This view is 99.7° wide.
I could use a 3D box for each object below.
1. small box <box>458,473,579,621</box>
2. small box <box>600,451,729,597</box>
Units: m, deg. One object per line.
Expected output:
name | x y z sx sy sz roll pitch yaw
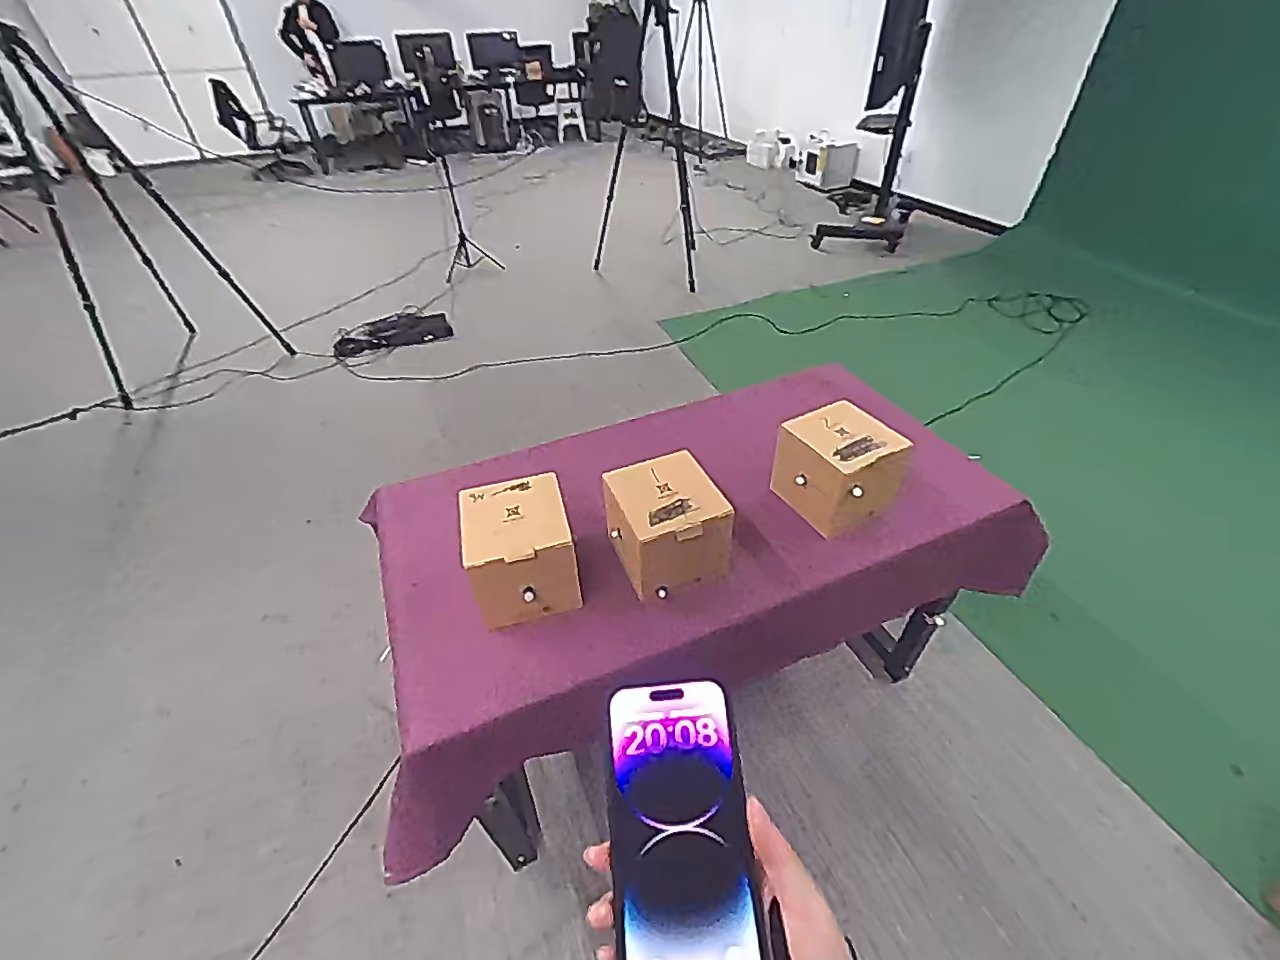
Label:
small box | -0.205 0.119 0.919 0.168 0.176 0.179 -12 43 -11
small box | 0.040 0.082 0.949 0.168 0.176 0.179 -17 43 -16
